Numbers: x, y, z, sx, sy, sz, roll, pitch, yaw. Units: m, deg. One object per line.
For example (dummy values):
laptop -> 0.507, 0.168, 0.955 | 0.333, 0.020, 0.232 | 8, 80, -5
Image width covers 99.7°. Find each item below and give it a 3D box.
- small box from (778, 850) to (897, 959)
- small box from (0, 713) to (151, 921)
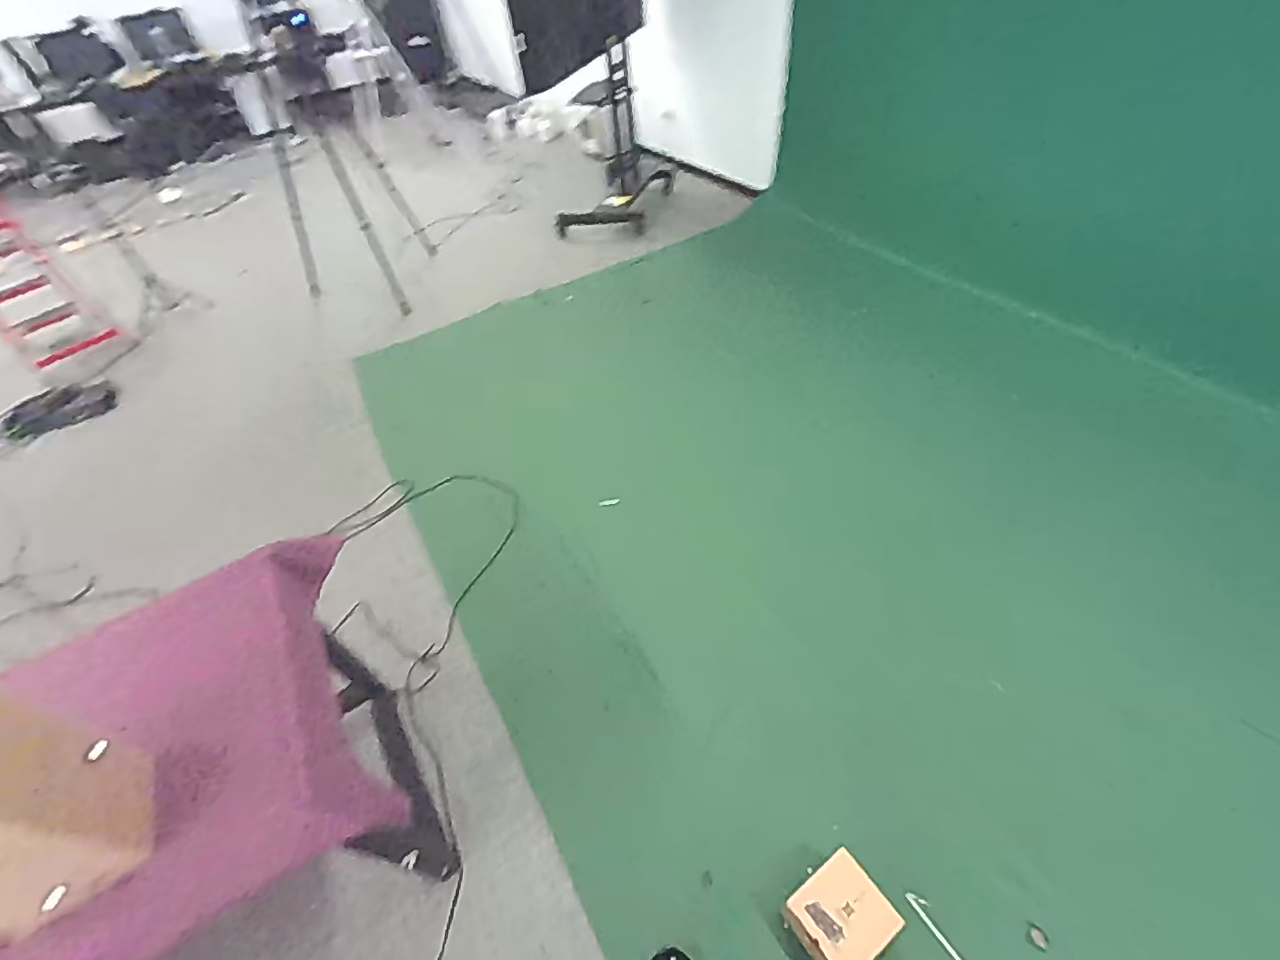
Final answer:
small box -> 0.417, 0.957, 1.175 | 0.179, 0.176, 0.168 | -28, 51, -20
small box -> -0.842, 0.476, 0.763 | 0.168, 0.176, 0.179 | -28, 50, -18
